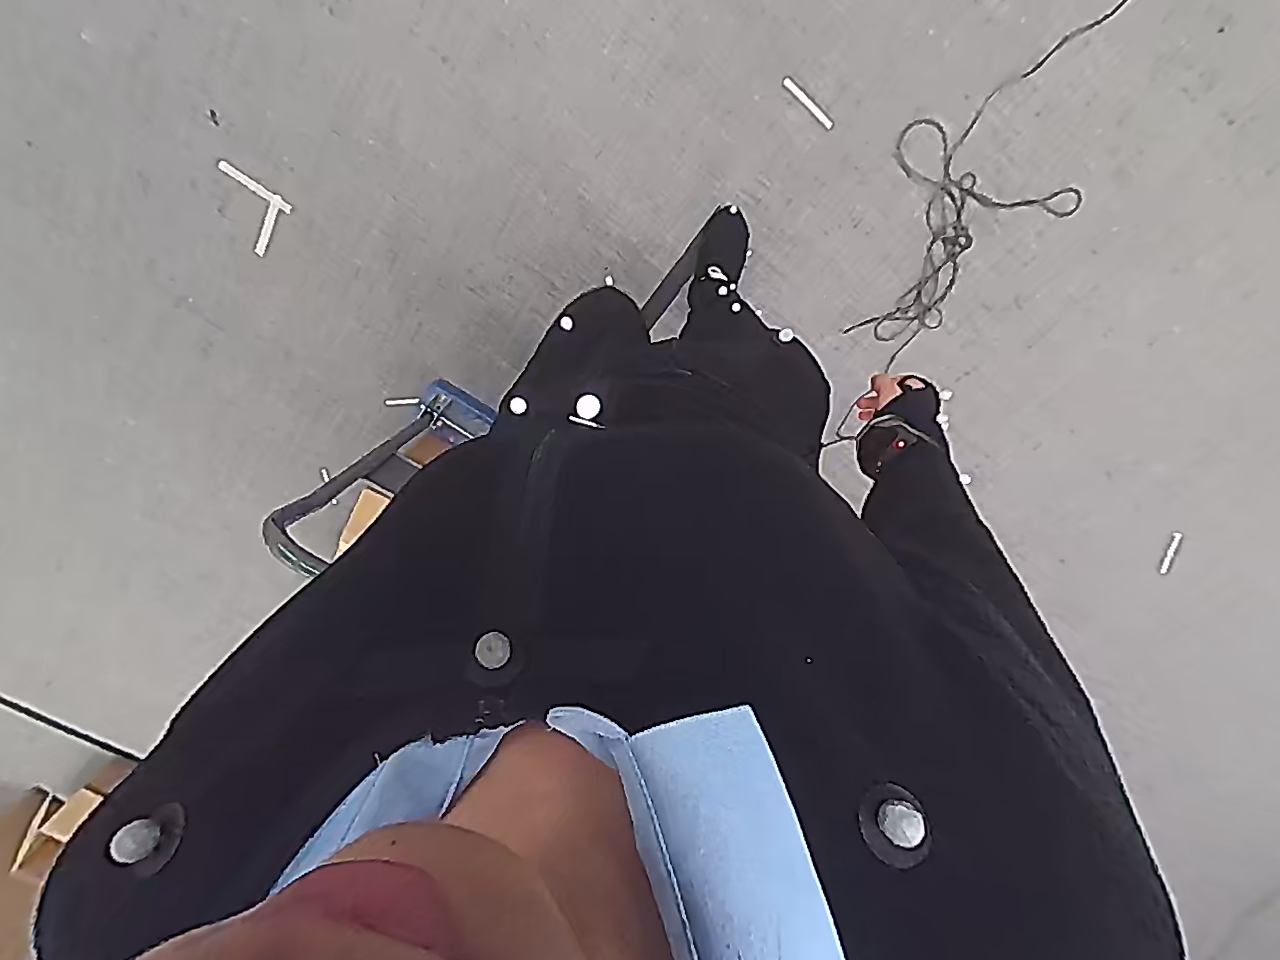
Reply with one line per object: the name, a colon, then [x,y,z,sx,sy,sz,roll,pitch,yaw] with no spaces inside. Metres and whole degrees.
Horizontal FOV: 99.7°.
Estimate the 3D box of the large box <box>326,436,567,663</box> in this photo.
large box: [-0.441,0.157,1.307,0.408,0.320,0.320,30,113,-10]
